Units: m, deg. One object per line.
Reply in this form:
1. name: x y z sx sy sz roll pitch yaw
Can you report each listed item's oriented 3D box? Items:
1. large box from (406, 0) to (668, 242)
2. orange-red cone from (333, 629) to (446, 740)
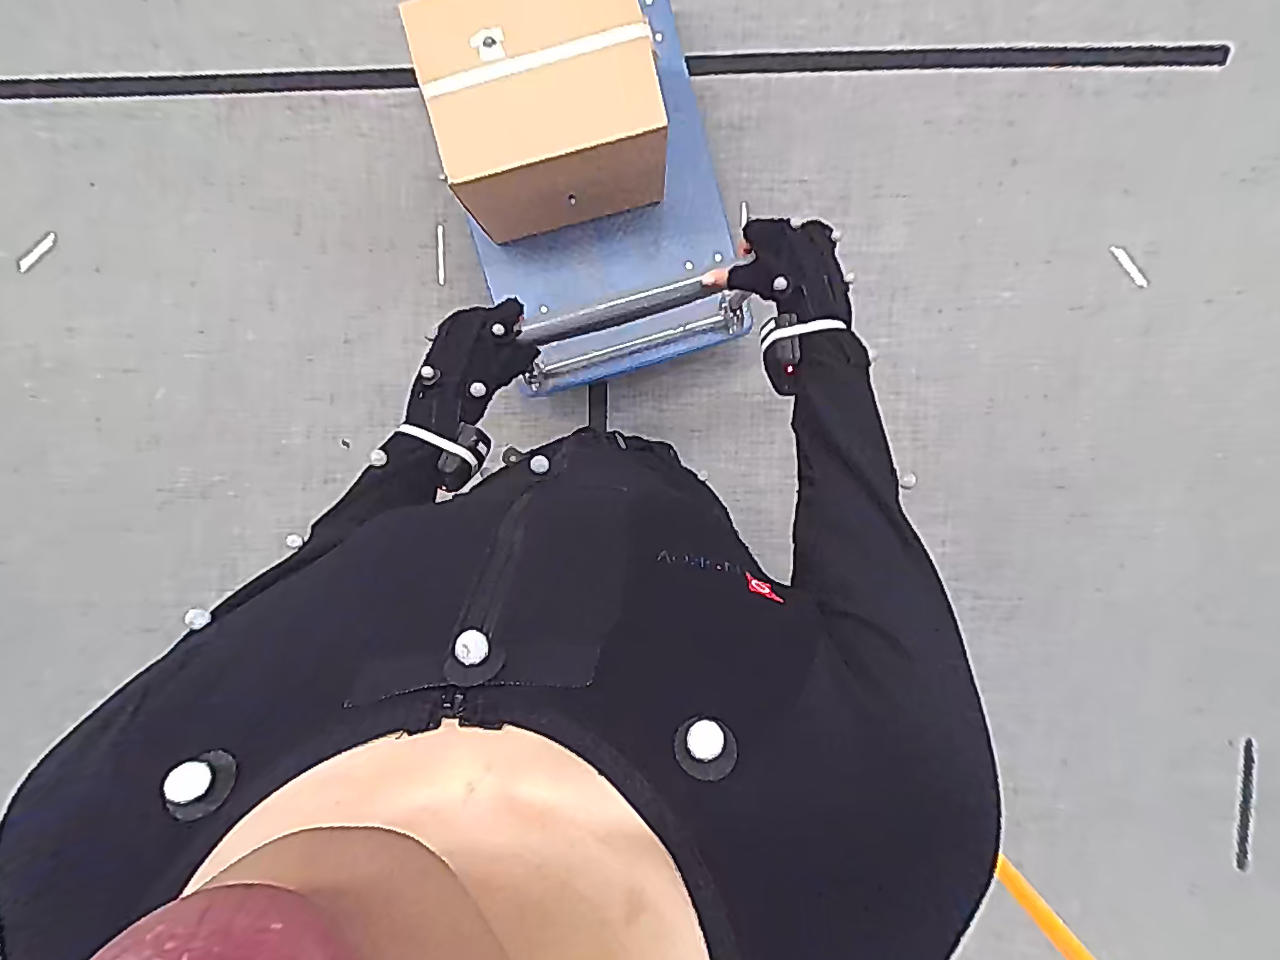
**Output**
1. large box: -0.175 -0.731 1.091 0.408 0.320 0.320 -14 94 3
2. orange-red cone: -0.652 0.534 1.350 0.198 0.360 0.199 7 93 -1
